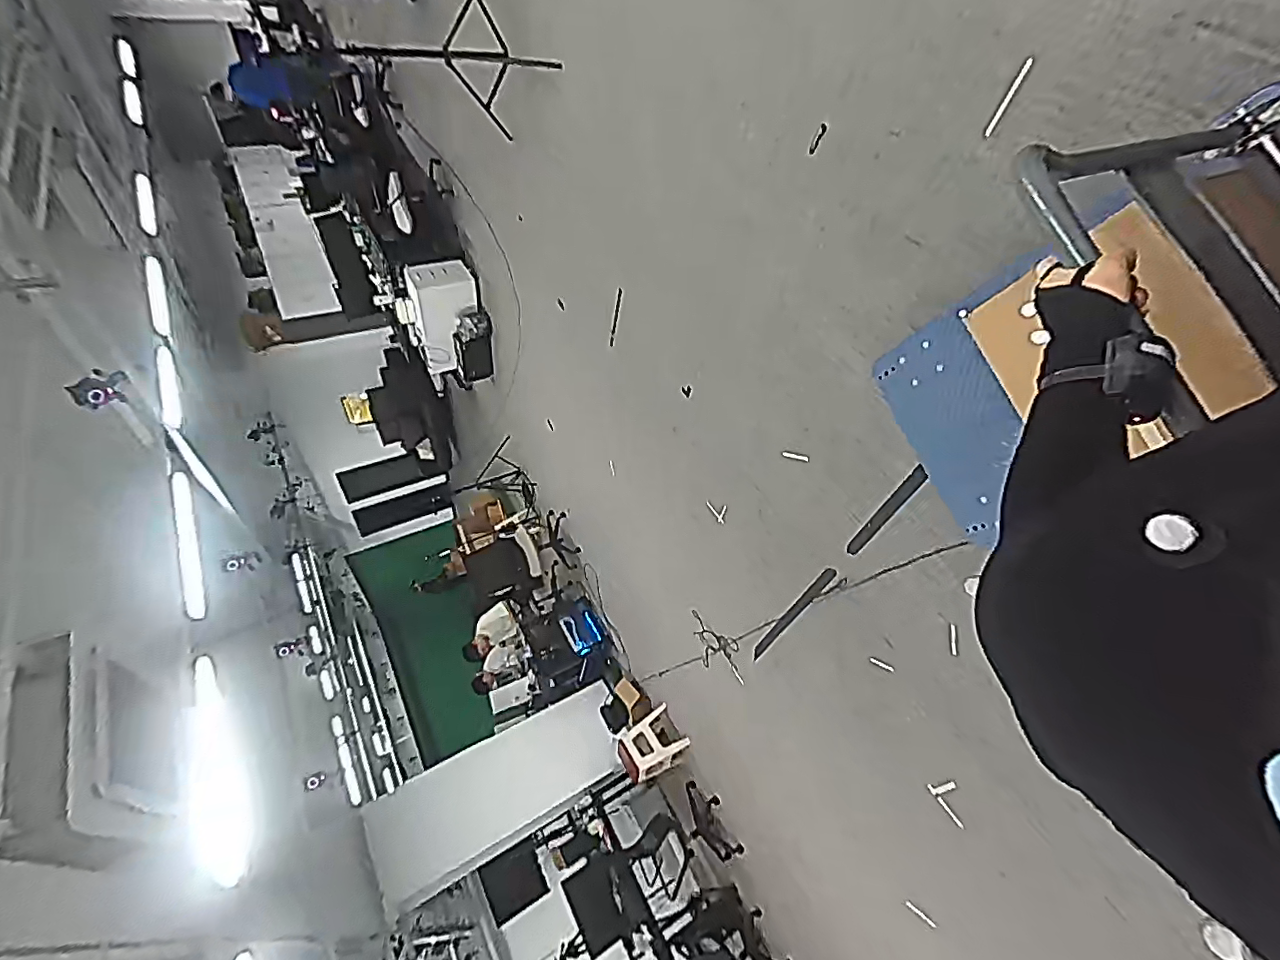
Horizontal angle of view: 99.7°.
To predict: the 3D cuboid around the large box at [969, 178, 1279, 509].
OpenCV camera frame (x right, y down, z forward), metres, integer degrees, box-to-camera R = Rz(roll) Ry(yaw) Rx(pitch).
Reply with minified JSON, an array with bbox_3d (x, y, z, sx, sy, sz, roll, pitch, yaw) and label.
[{"bbox_3d":[0.870,-0.215,0.900,0.408,0.320,0.320,66,155,9],"label":"large box"}]
